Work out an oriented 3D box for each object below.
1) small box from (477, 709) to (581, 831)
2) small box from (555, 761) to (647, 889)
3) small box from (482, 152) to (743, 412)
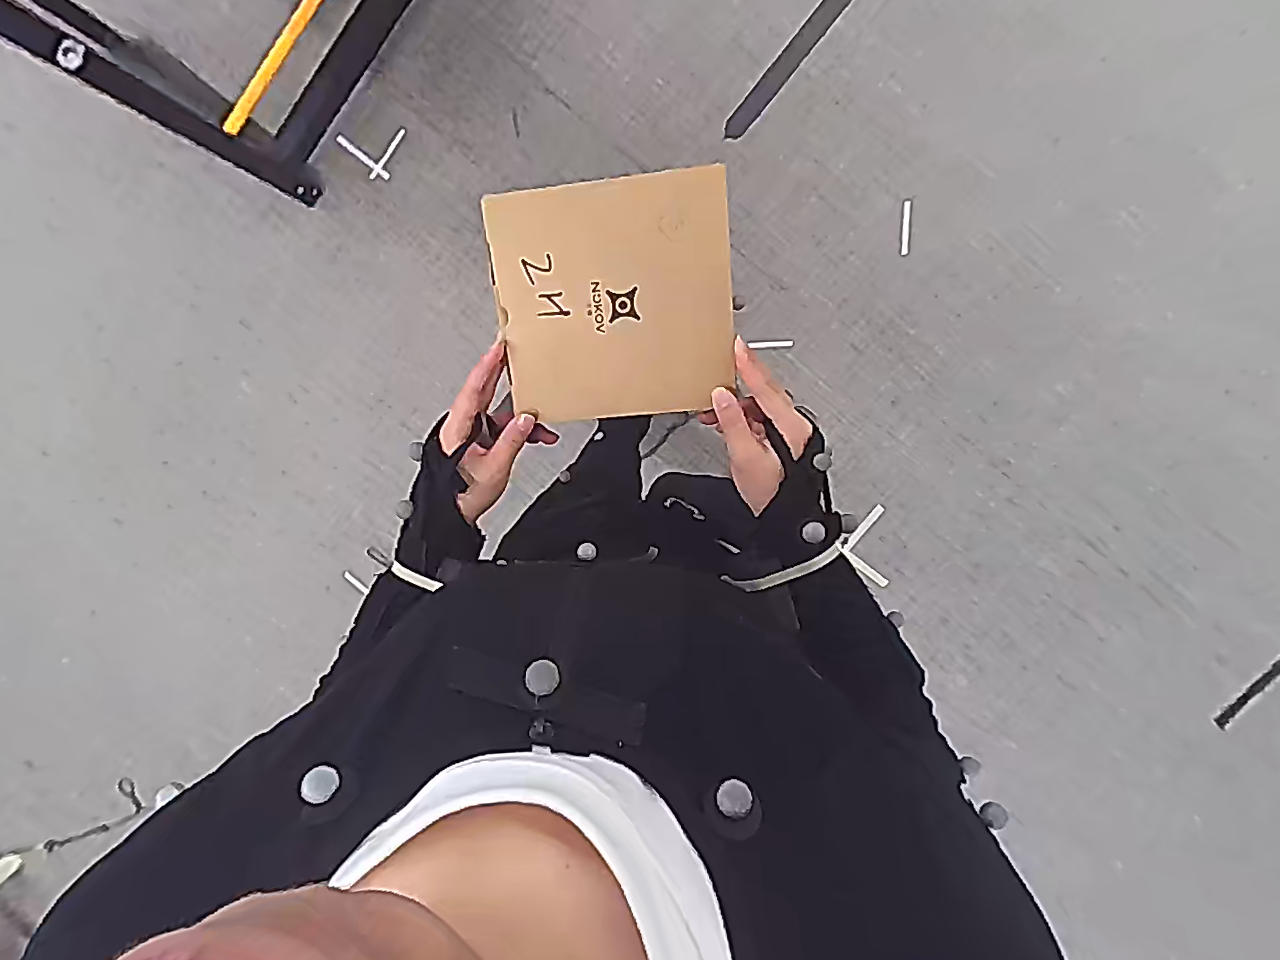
[{"bbox_3d":[-0.270,0.722,1.367,0.168,0.176,0.179,-44,93,7],"label":"small box"},{"bbox_3d":[-0.089,0.871,1.380,0.168,0.176,0.179,33,97,-2],"label":"small box"},{"bbox_3d":[-0.010,-0.156,0.460,0.179,0.176,0.168,-3,106,7],"label":"small box"}]
